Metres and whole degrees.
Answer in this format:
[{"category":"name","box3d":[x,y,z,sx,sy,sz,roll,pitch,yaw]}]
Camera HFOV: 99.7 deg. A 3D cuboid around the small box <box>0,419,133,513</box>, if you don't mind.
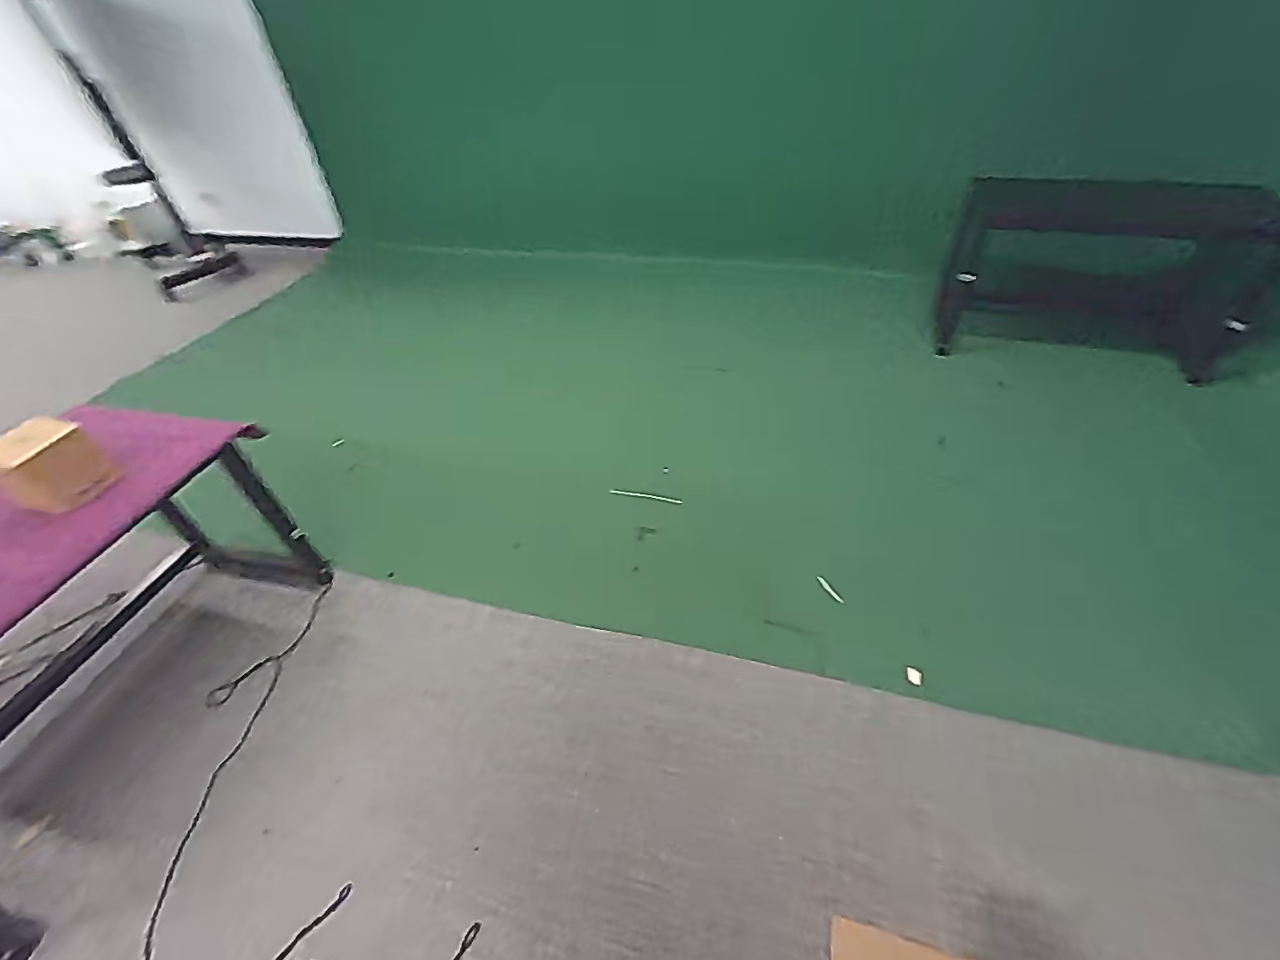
[{"category":"small box","box3d":[-1.481,-0.035,1.381,0.179,0.176,0.168,9,47,16]}]
